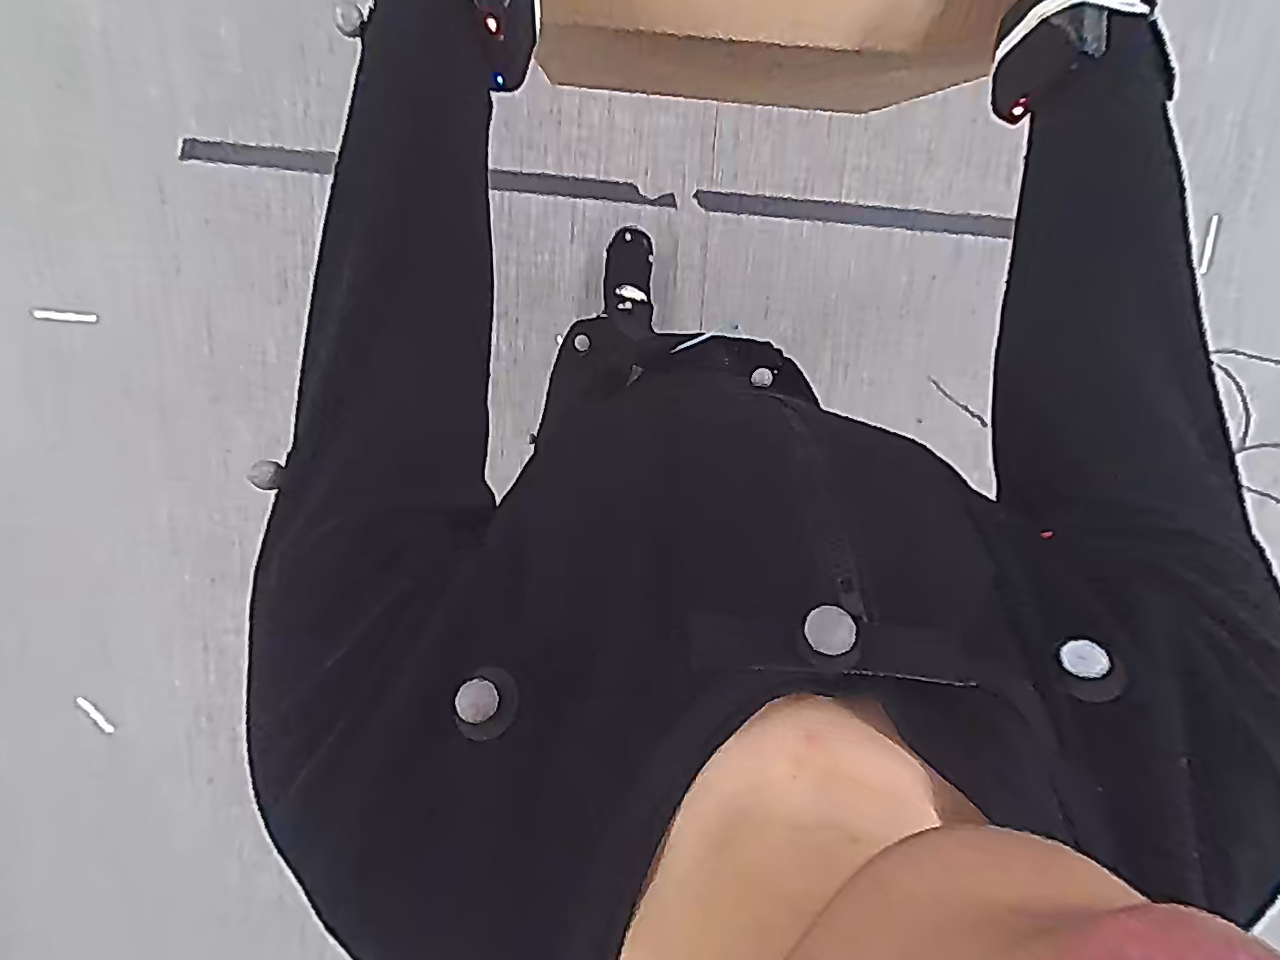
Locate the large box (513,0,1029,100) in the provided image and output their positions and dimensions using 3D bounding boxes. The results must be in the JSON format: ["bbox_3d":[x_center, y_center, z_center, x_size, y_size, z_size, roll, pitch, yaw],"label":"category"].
[{"bbox_3d":[0.101,-0.553,0.476,0.408,0.320,0.320,3,119,-4],"label":"large box"}]
